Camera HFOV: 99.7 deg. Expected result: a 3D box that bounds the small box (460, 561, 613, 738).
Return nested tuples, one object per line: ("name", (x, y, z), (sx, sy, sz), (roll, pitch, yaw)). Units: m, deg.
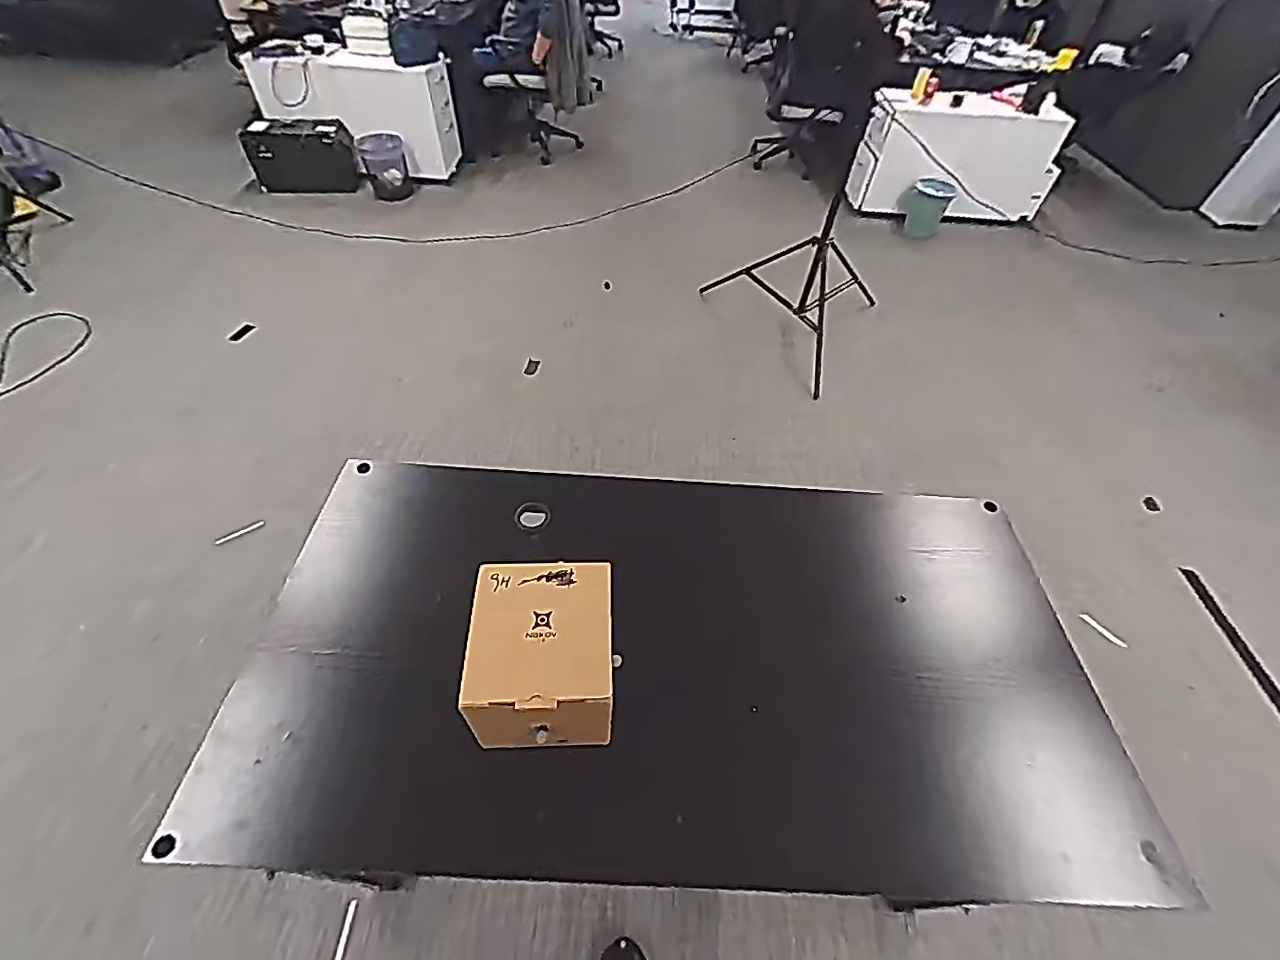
("small box", (-0.119, 0.224, 0.699), (0.168, 0.176, 0.179), (-1, 50, -4))
